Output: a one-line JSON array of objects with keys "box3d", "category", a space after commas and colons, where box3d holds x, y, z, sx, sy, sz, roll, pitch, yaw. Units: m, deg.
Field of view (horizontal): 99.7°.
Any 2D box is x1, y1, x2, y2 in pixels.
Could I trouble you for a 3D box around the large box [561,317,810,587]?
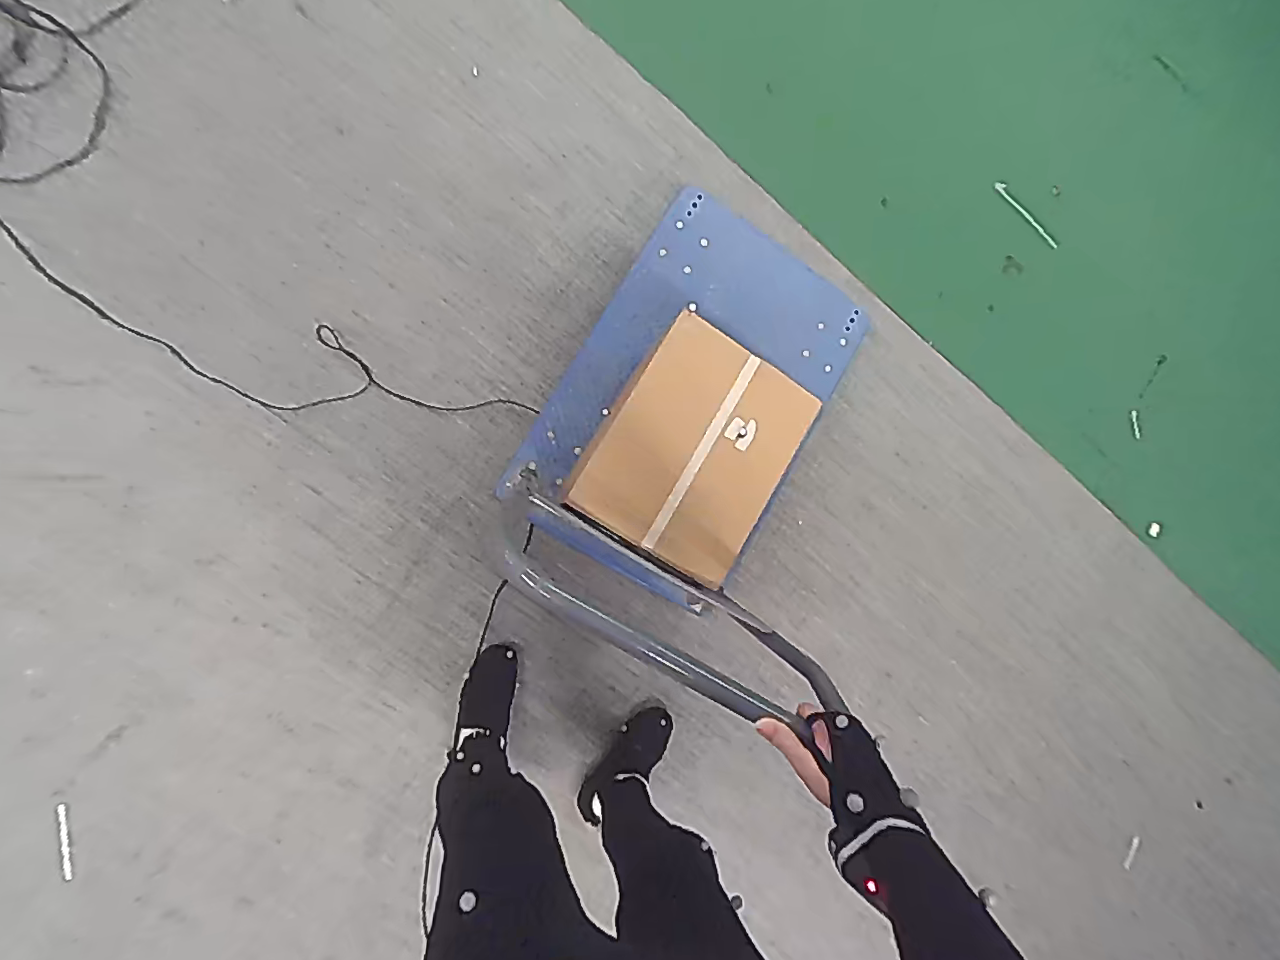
[{"box3d": [0.069, -0.043, 1.119, 0.320, 0.320, 0.408, 32, 82, -10], "category": "large box"}]
